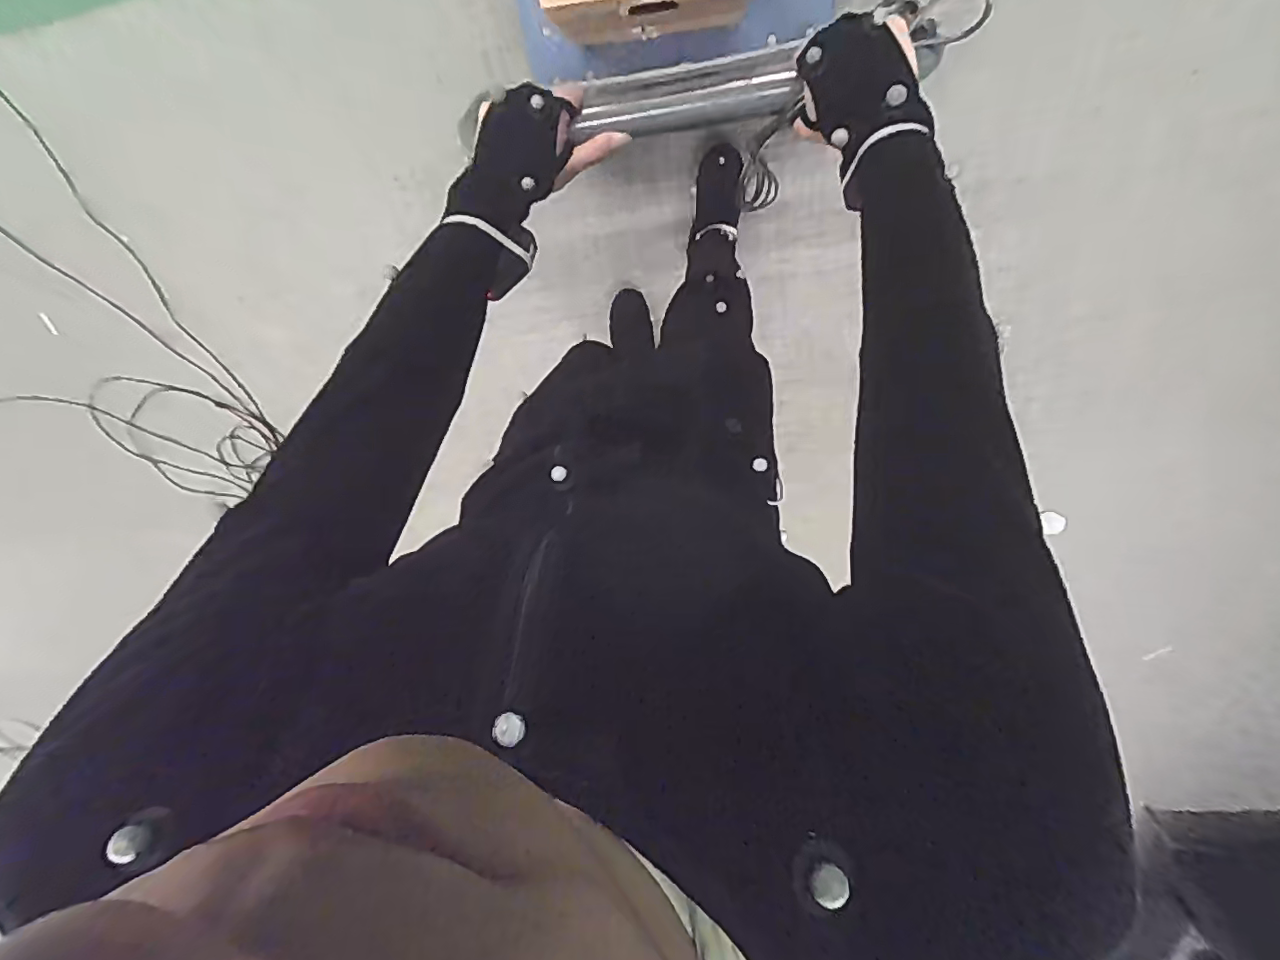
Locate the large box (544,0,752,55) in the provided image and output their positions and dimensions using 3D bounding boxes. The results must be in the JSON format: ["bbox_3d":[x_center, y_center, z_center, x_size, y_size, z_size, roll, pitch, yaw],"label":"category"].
[{"bbox_3d":[0.009,-0.928,0.806,0.320,0.320,0.408,-2,120,7],"label":"large box"}]
